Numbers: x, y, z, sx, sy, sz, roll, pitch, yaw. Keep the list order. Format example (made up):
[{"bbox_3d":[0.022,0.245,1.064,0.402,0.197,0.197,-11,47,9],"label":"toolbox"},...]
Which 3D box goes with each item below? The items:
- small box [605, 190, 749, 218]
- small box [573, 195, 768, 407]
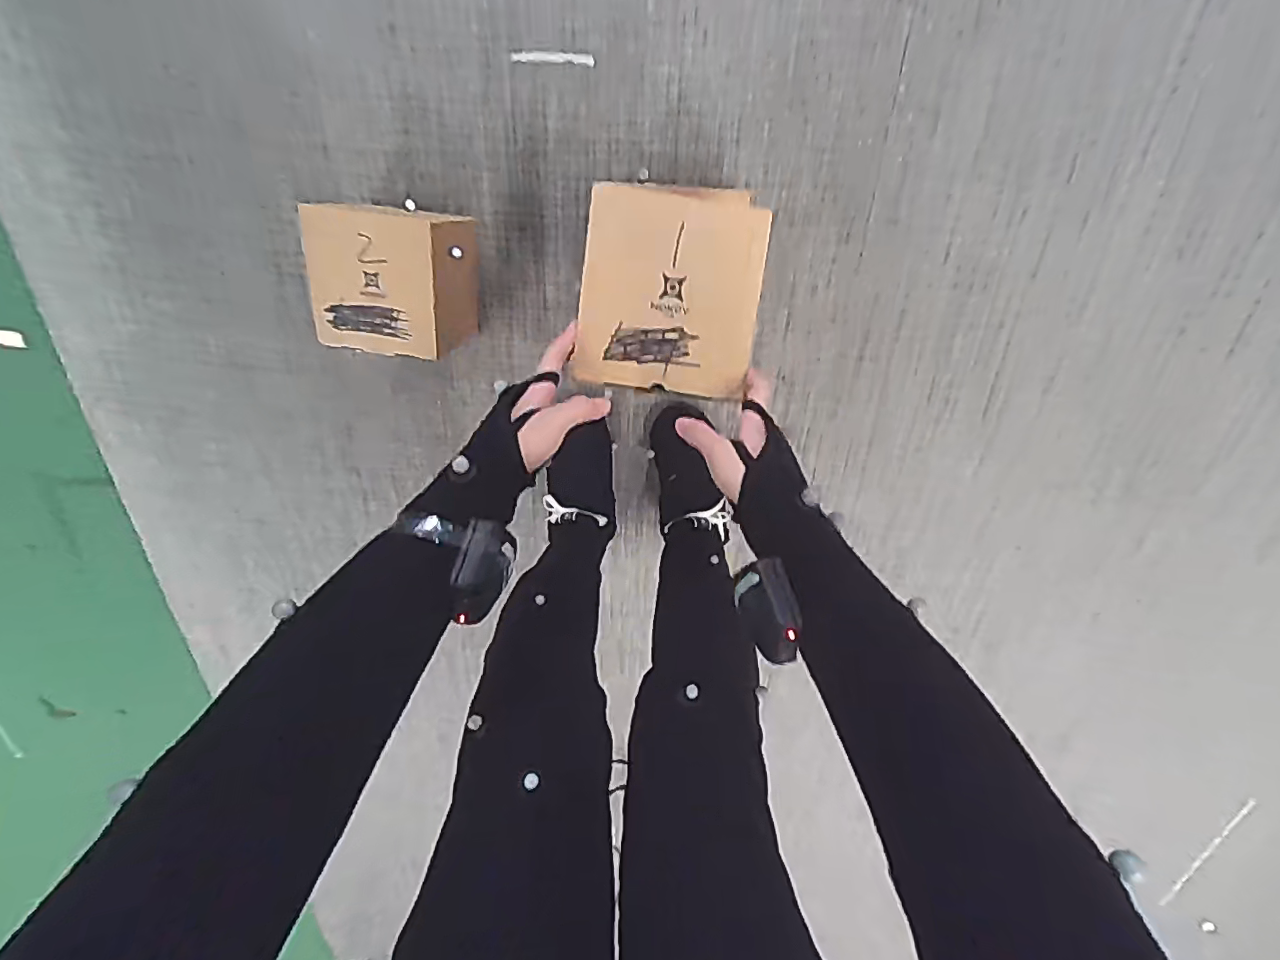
[{"bbox_3d":[0.043,-0.301,0.751,0.179,0.176,0.168,5,117,1],"label":"small box"},{"bbox_3d":[0.025,-0.175,0.588,0.168,0.176,0.179,7,95,-4],"label":"small box"}]
